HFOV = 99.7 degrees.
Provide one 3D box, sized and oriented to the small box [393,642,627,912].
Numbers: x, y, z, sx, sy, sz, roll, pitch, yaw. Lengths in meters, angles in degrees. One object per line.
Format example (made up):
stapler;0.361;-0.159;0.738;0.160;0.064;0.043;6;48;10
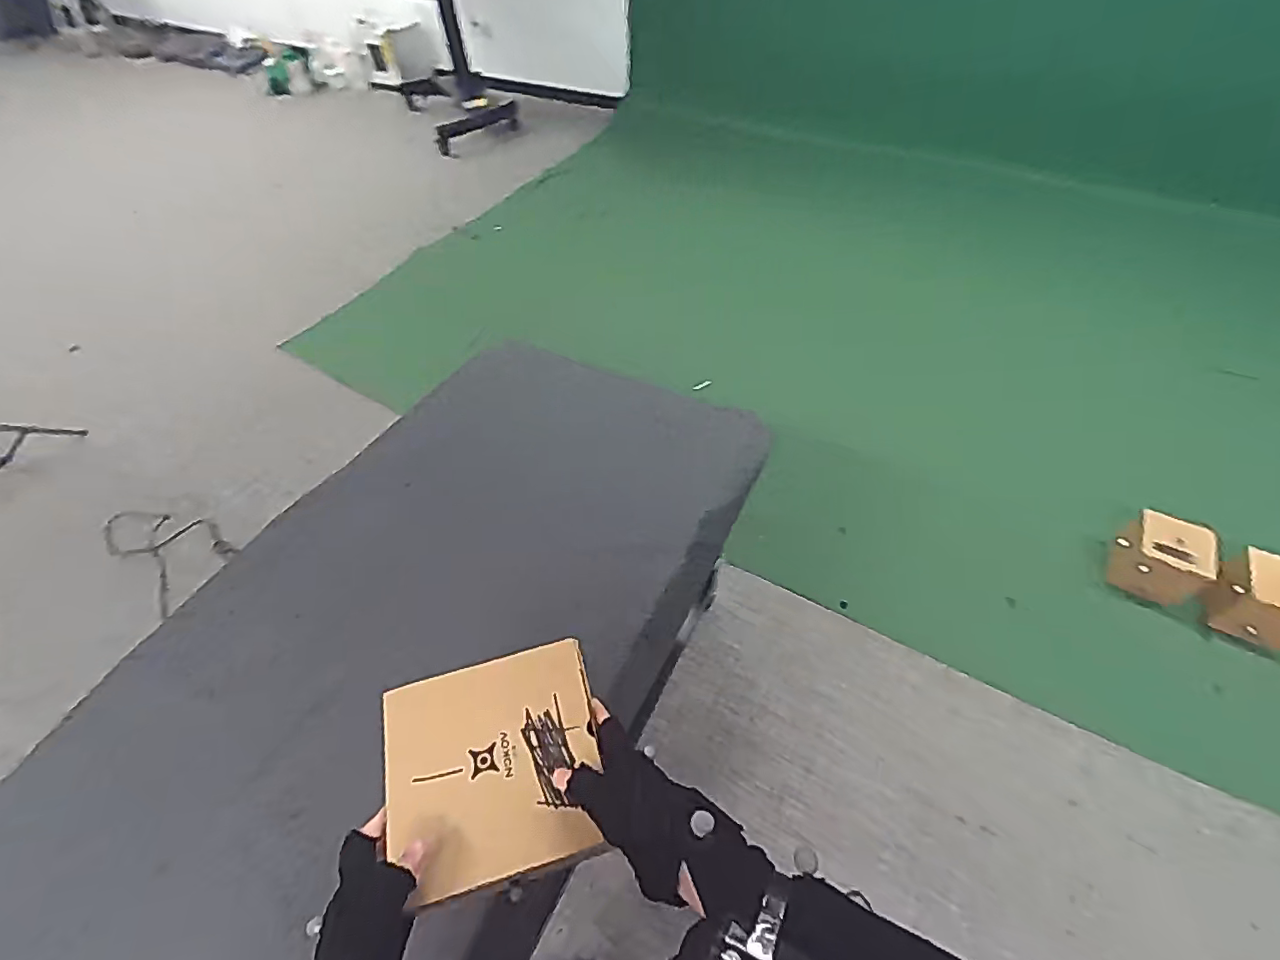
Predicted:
small box;-0.115;0.277;0.512;0.179;0.176;0.168;-12;55;-10

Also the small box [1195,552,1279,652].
small box;1.671;0.333;1.470;0.168;0.176;0.179;23;57;18
